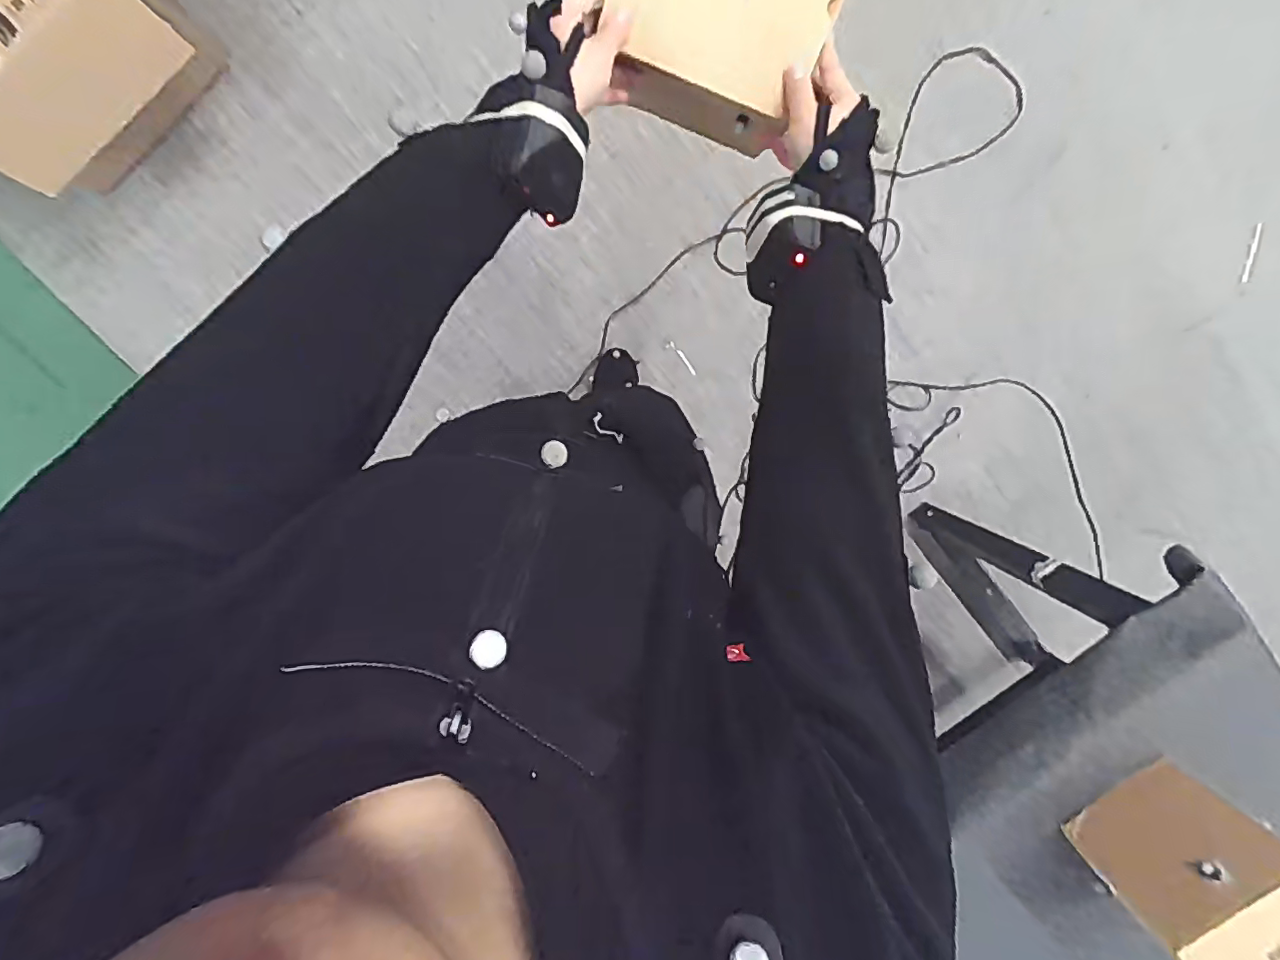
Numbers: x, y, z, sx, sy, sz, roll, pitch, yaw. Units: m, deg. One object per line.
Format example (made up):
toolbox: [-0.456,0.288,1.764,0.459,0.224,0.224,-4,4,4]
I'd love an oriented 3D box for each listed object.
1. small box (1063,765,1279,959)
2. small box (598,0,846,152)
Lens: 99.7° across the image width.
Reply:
small box: [0.690,0.500,0.667,0.179,0.176,0.168,-41,100,8]
small box: [0.074,-0.417,0.479,0.179,0.176,0.168,17,112,-7]
